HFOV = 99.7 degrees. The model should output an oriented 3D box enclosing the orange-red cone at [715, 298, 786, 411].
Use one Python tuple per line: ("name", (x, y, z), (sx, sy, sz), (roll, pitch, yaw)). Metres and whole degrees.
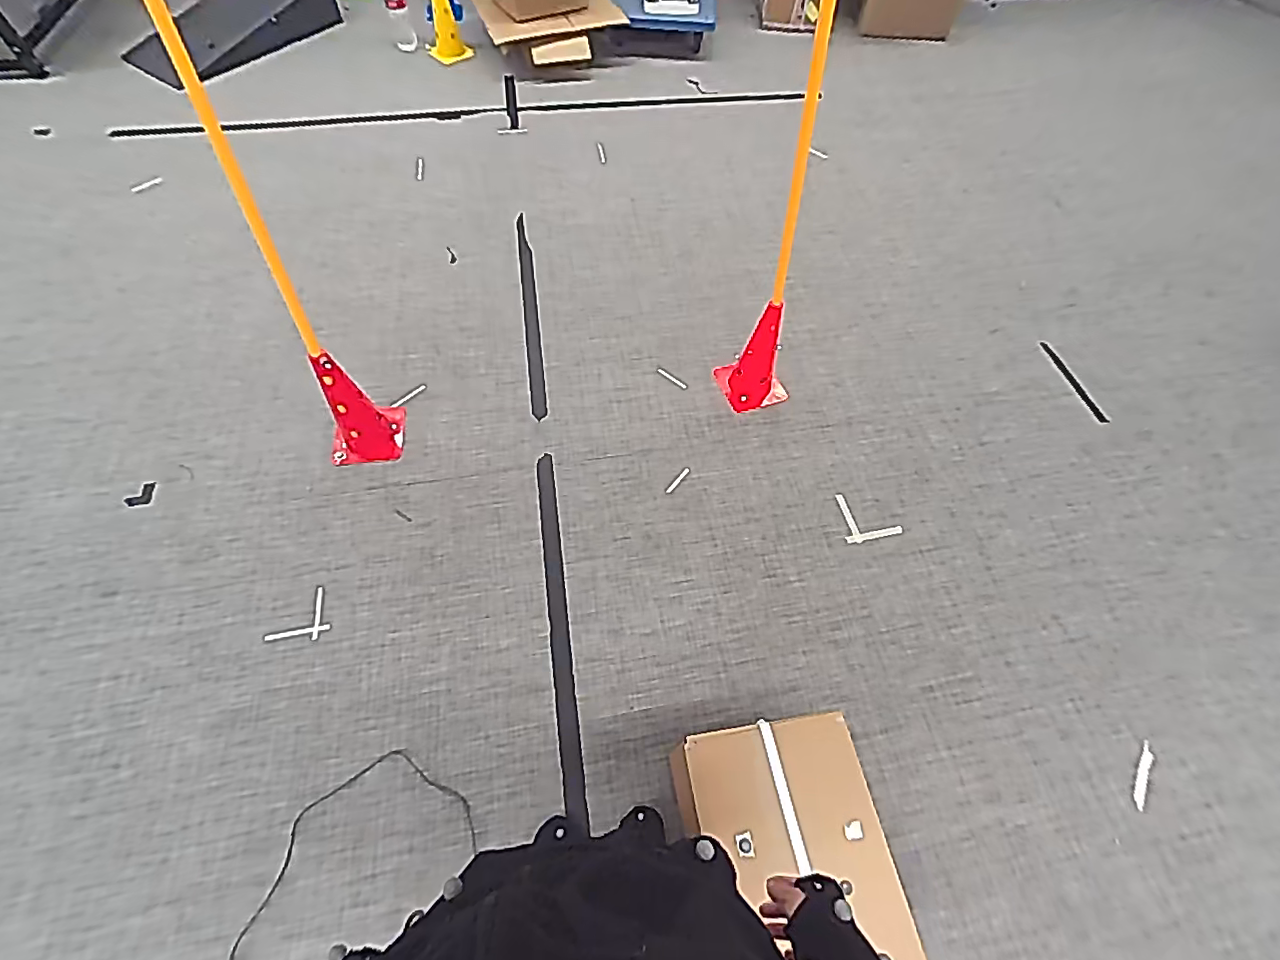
("orange-red cone", (0.374, -0.405, 1.647), (0.199, 0.360, 0.198), (-15, 62, -12))
